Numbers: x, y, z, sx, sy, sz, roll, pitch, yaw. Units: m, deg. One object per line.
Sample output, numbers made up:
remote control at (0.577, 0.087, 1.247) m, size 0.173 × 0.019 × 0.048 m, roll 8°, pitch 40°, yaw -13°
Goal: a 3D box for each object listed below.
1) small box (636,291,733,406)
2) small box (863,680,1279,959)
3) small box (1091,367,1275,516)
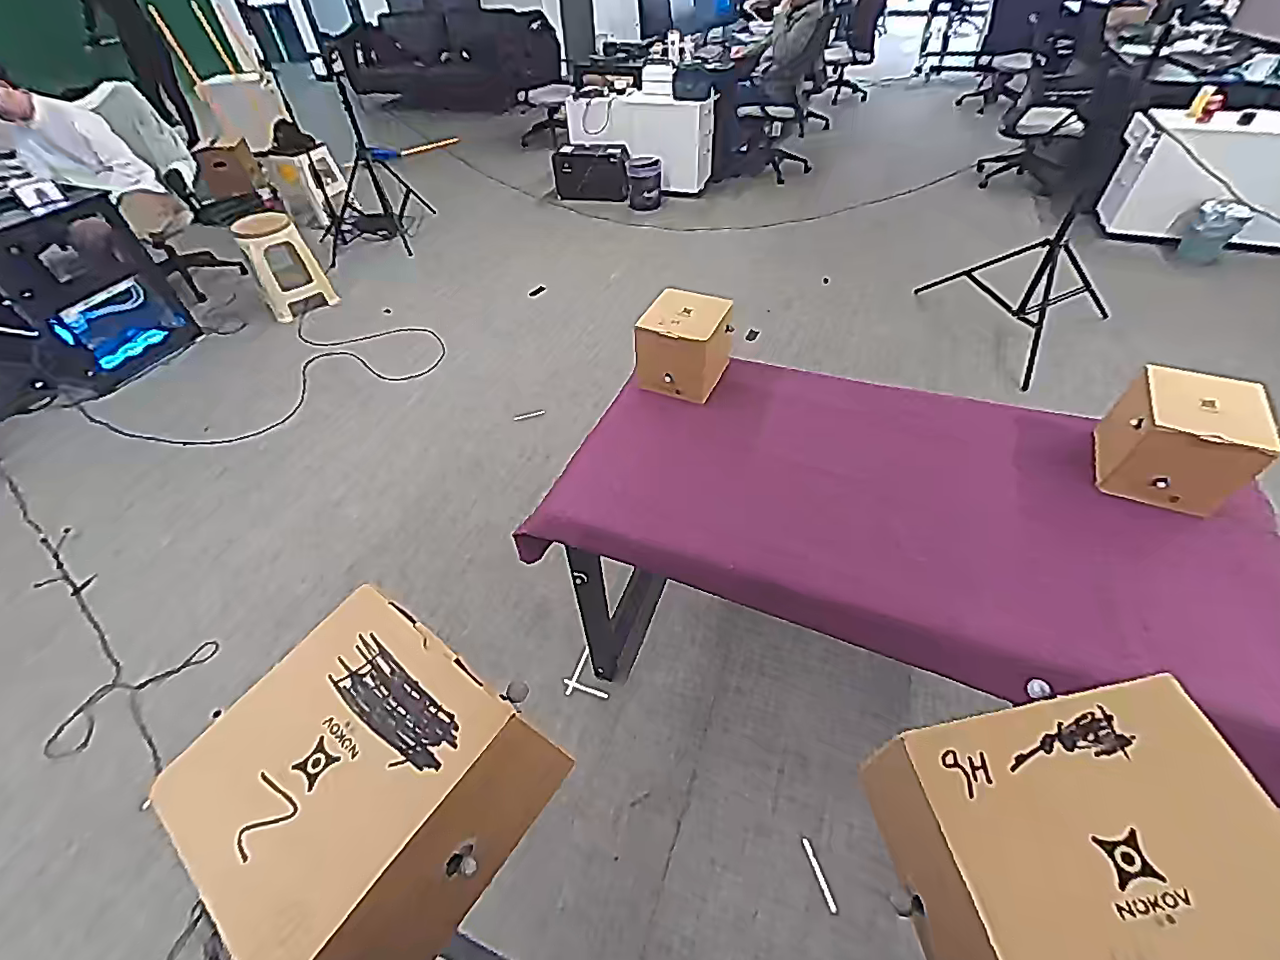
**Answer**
small box at (0.101, -0.299, 1.230) m, size 0.168 × 0.176 × 0.179 m, roll 18°, pitch 52°, yaw 19°
small box at (0.265, 0.250, 0.344) m, size 0.168 × 0.176 × 0.179 m, roll -14°, pitch 55°, yaw 2°
small box at (0.948, -0.068, 0.967) m, size 0.168 × 0.176 × 0.179 m, roll 18°, pitch 54°, yaw 19°
